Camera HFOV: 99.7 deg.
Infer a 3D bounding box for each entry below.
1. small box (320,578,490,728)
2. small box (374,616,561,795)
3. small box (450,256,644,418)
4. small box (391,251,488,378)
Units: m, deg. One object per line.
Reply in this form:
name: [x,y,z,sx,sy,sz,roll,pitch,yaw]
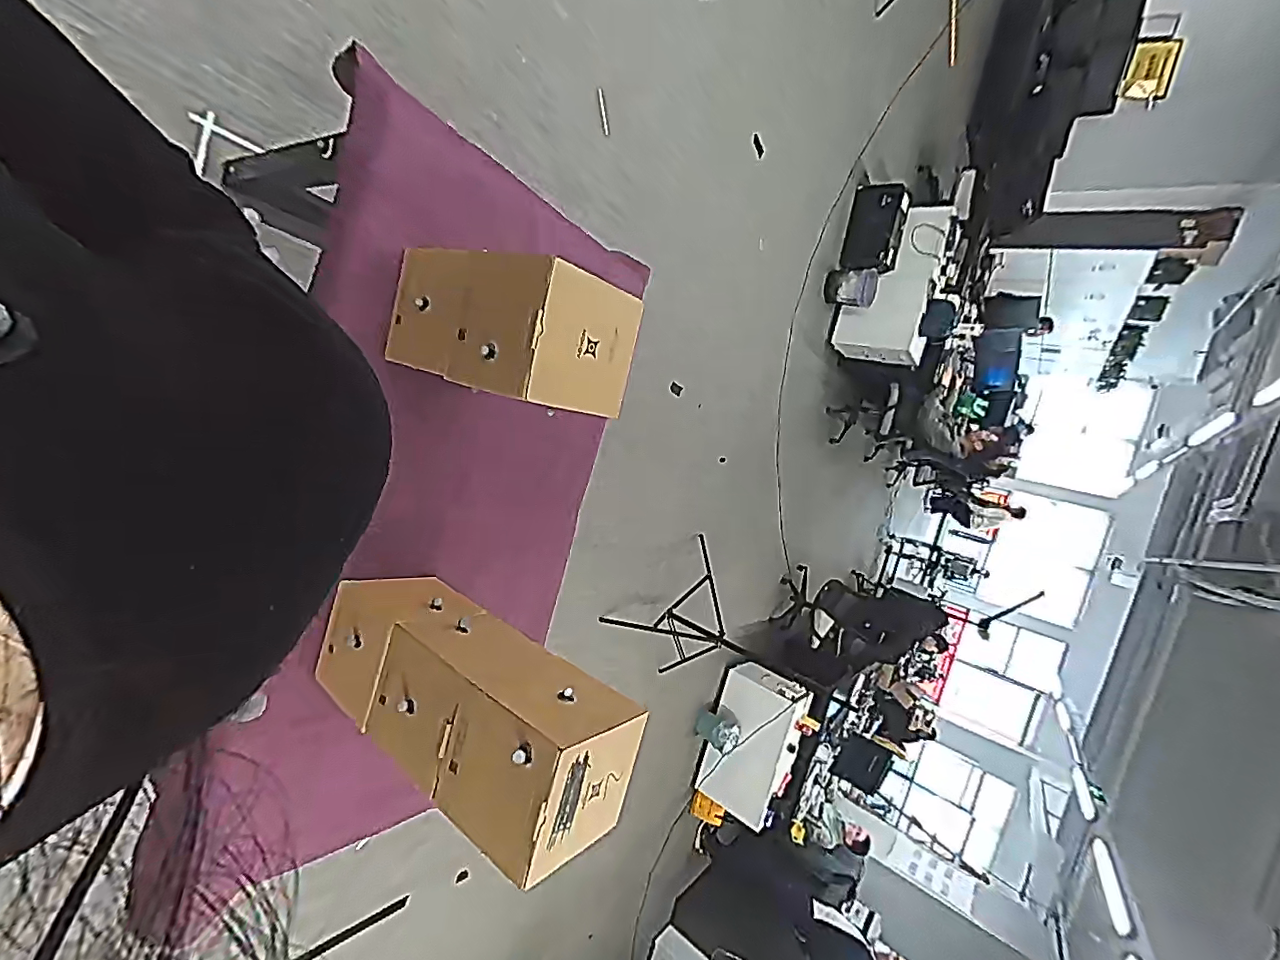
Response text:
small box: [-0.382,0.266,0.875,0.179,0.176,0.168,12,95,-56]
small box: [-0.251,0.309,0.786,0.179,0.176,0.168,14,94,-55]
small box: [-0.126,-0.189,0.725,0.179,0.176,0.168,1,105,-55]
small box: [-0.248,-0.233,0.823,0.179,0.176,0.168,5,102,-55]
